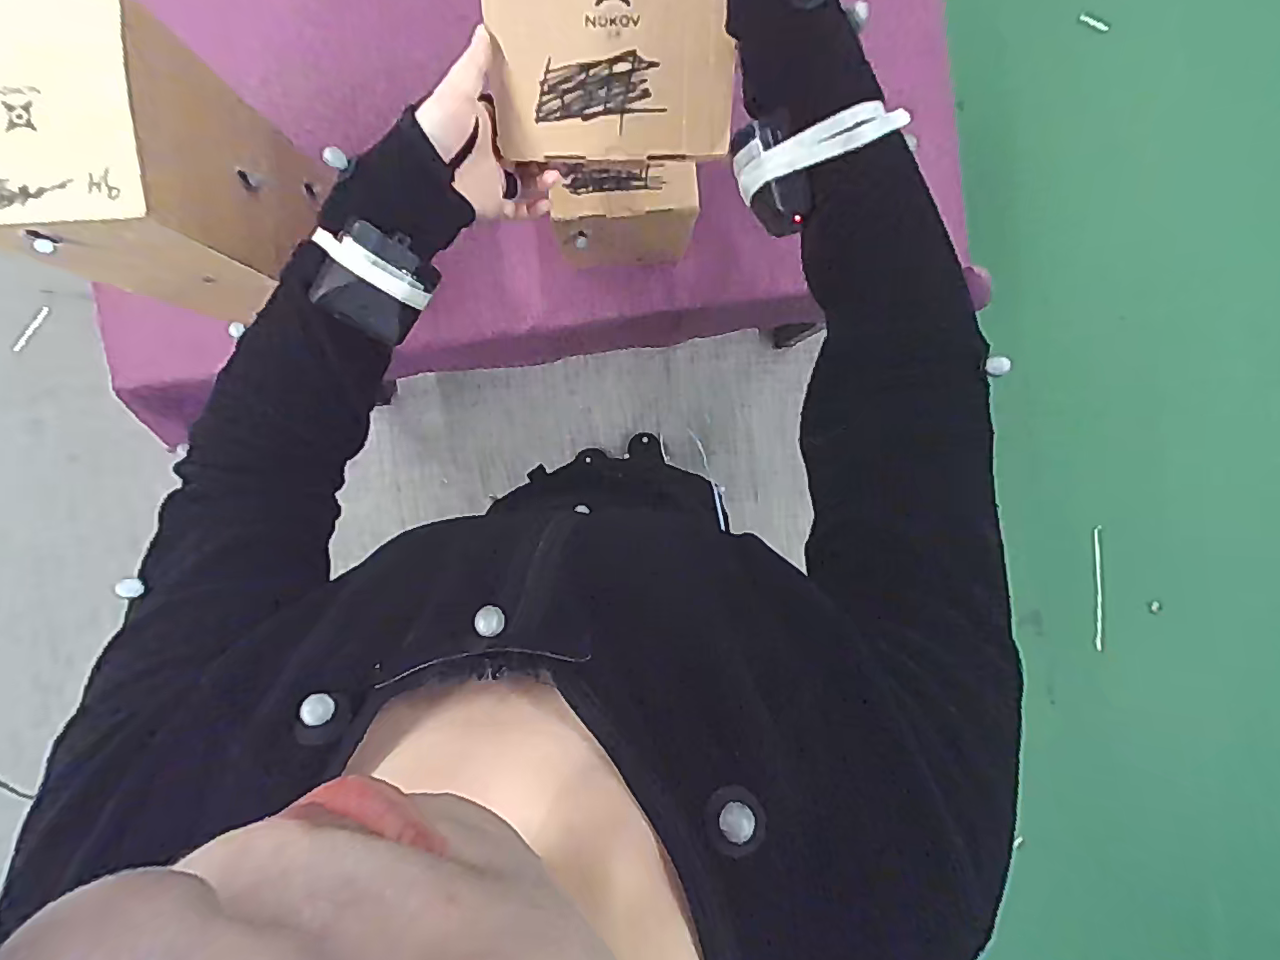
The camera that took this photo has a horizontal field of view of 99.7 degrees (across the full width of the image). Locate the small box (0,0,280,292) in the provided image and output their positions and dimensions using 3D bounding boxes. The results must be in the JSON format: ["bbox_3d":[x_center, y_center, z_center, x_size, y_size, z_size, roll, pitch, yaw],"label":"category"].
[{"bbox_3d":[-0.466,-0.288,0.494,0.168,0.176,0.179,-3,93,-1],"label":"small box"}]

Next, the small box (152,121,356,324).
[{"bbox_3d":[-0.472,-0.299,0.659,0.168,0.176,0.179,-3,95,-2],"label":"small box"}]

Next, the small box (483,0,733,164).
[{"bbox_3d":[-0.020,-0.348,0.420,0.168,0.176,0.179,-2,118,0],"label":"small box"}]
